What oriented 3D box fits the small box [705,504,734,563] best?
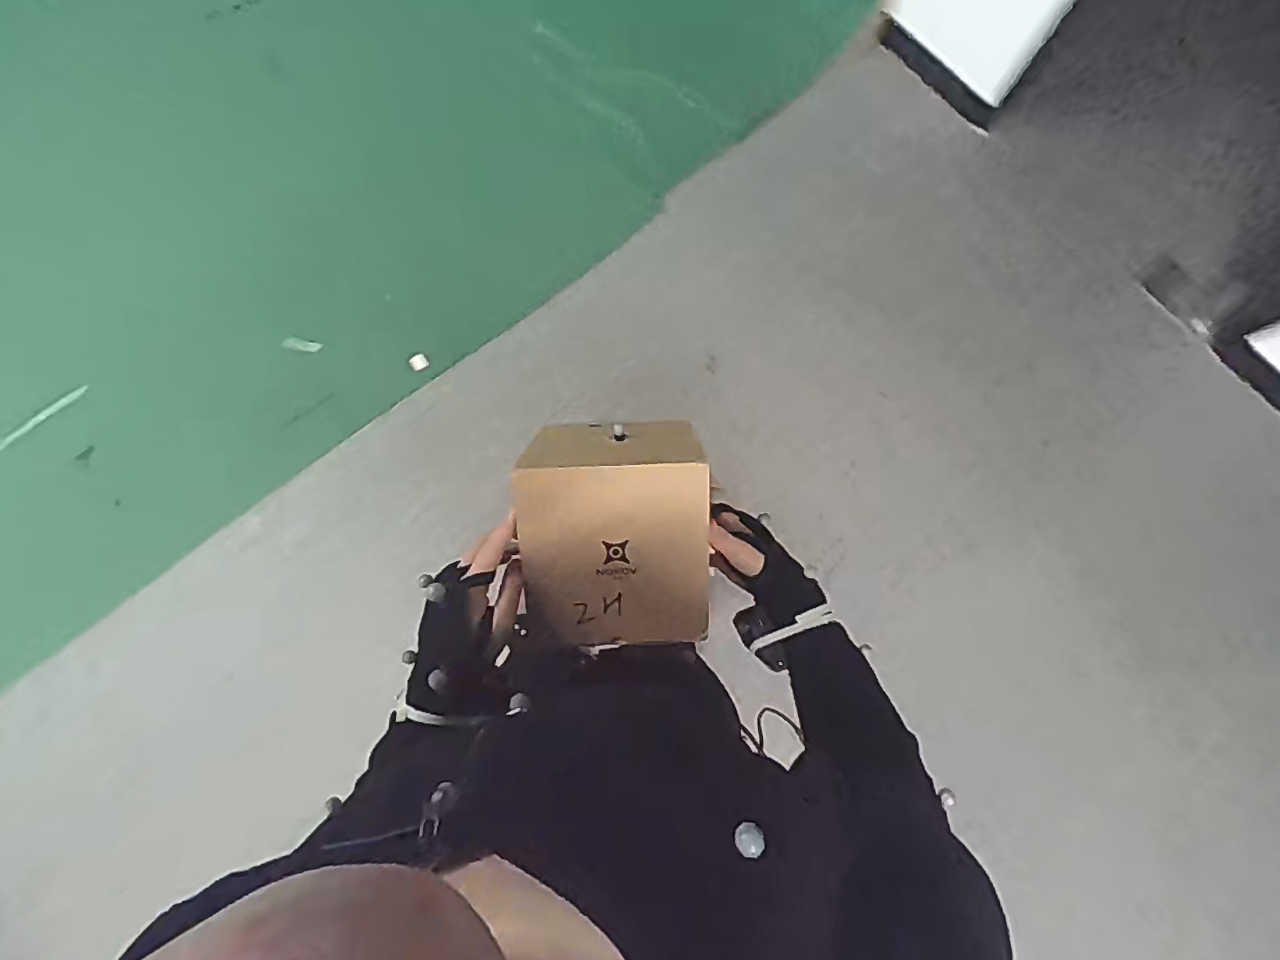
[{"bbox_3d":[0.125,0.151,1.451,0.179,0.176,0.168,-37,82,-4],"label":"small box"}]

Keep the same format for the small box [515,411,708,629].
[{"bbox_3d":[-0.026,0.028,0.552,0.168,0.176,0.179,-2,109,-1],"label":"small box"}]
